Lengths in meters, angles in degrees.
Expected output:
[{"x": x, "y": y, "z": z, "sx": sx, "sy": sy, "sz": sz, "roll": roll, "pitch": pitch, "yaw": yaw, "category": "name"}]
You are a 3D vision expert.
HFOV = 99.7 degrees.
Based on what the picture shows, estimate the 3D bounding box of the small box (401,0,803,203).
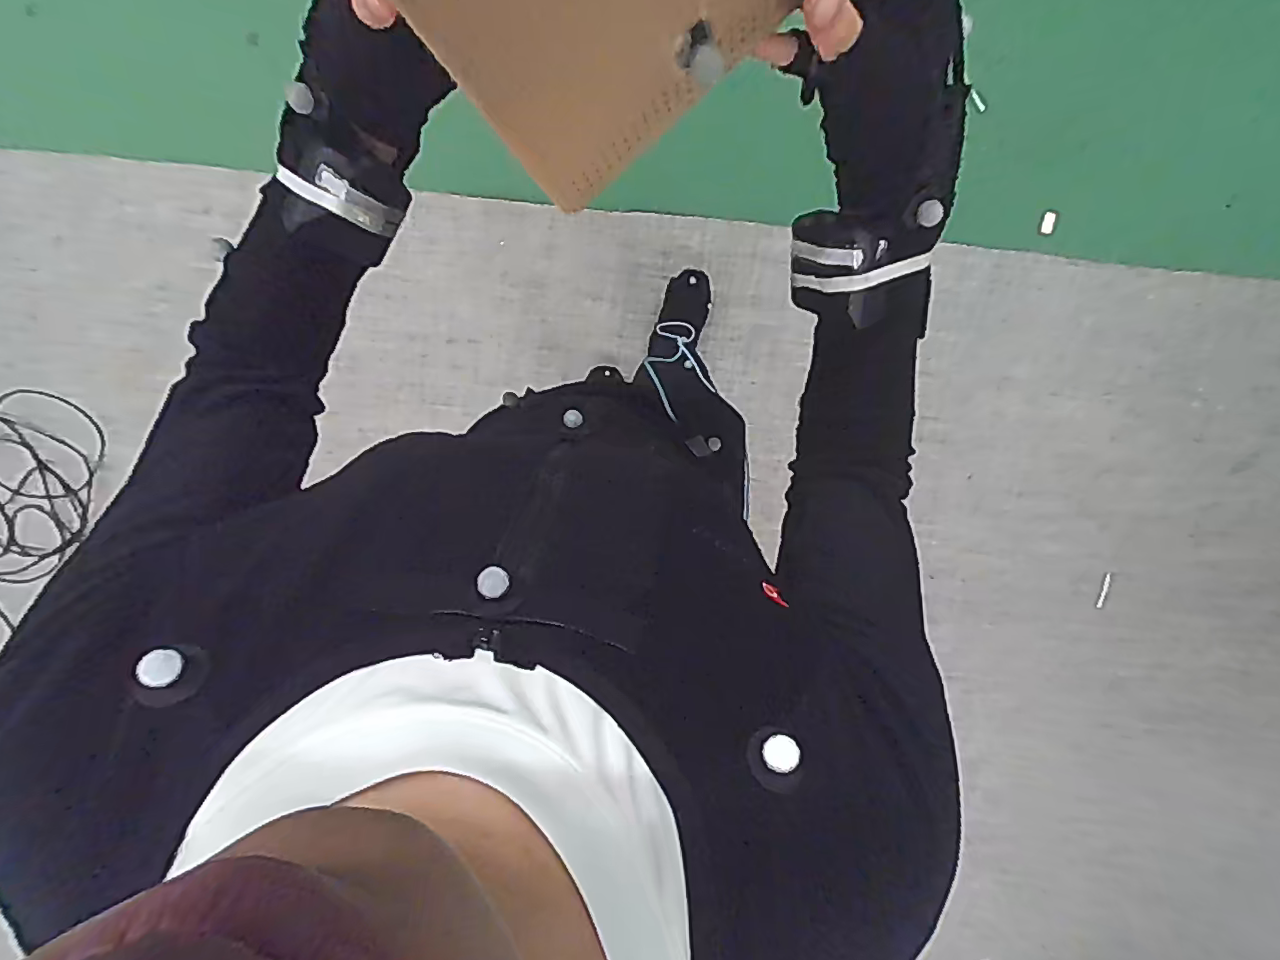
[{"x": -0.029, "y": -0.246, "z": 0.192, "sx": 0.179, "sy": 0.176, "sz": 0.168, "roll": -37, "pitch": 89, "yaw": 11, "category": "small box"}]
